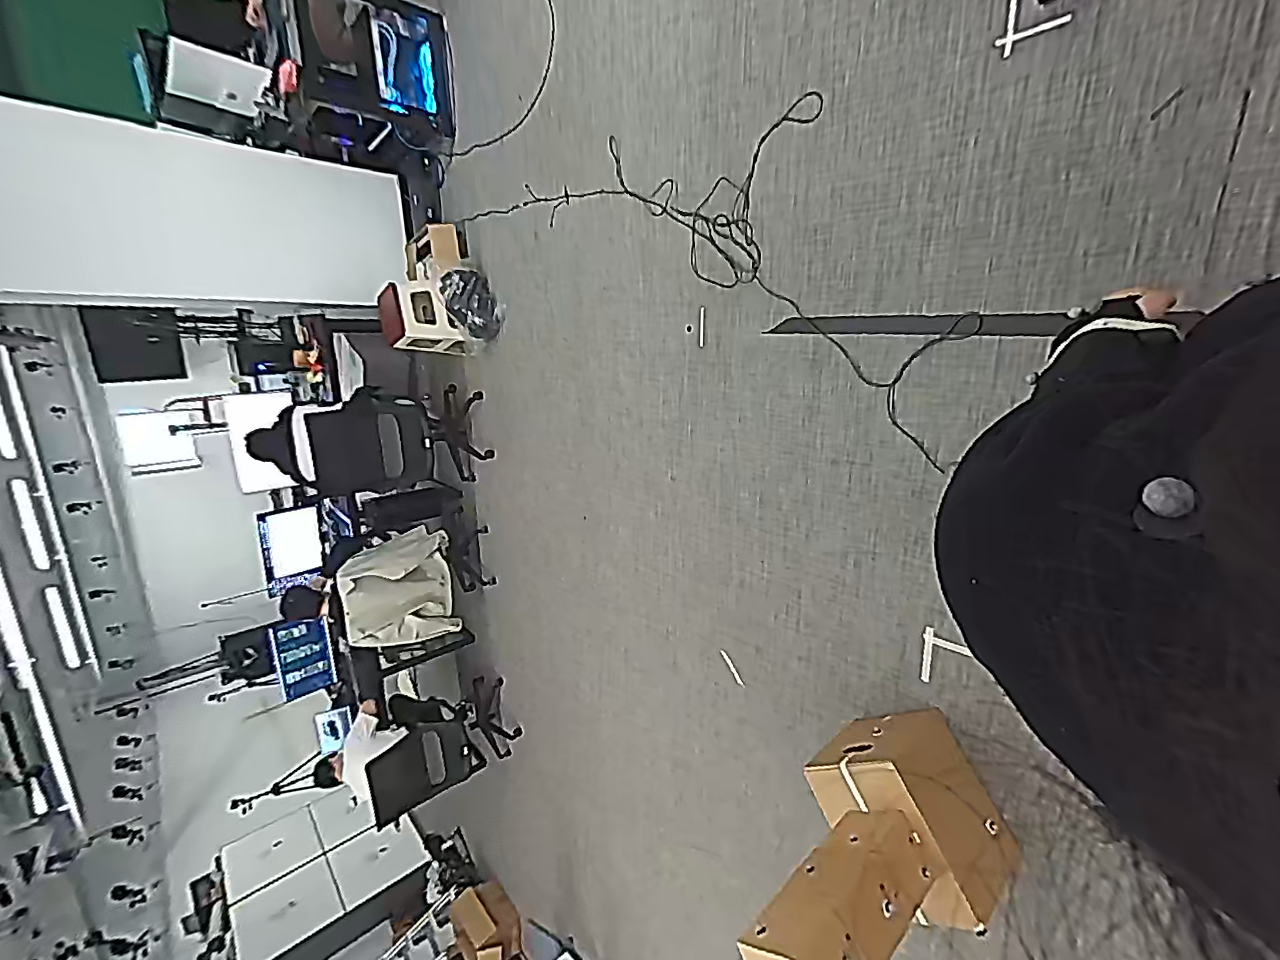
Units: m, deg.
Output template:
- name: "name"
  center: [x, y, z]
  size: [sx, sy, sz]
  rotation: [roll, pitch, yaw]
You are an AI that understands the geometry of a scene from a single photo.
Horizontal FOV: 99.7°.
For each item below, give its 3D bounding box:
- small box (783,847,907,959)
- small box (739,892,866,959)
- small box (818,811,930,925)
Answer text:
- name: "small box"
  center: [0.470, 0.977, 1.239]
  size: [0.179, 0.176, 0.168]
  rotation: [-37, 73, 46]
- name: "small box"
  center: [0.347, 1.007, 1.131]
  size: [0.179, 0.176, 0.168]
  rotation: [-39, 72, 47]
- name: "small box"
  center: [0.589, 0.953, 1.346]
  size: [0.179, 0.176, 0.168]
  rotation: [-42, 68, 47]
